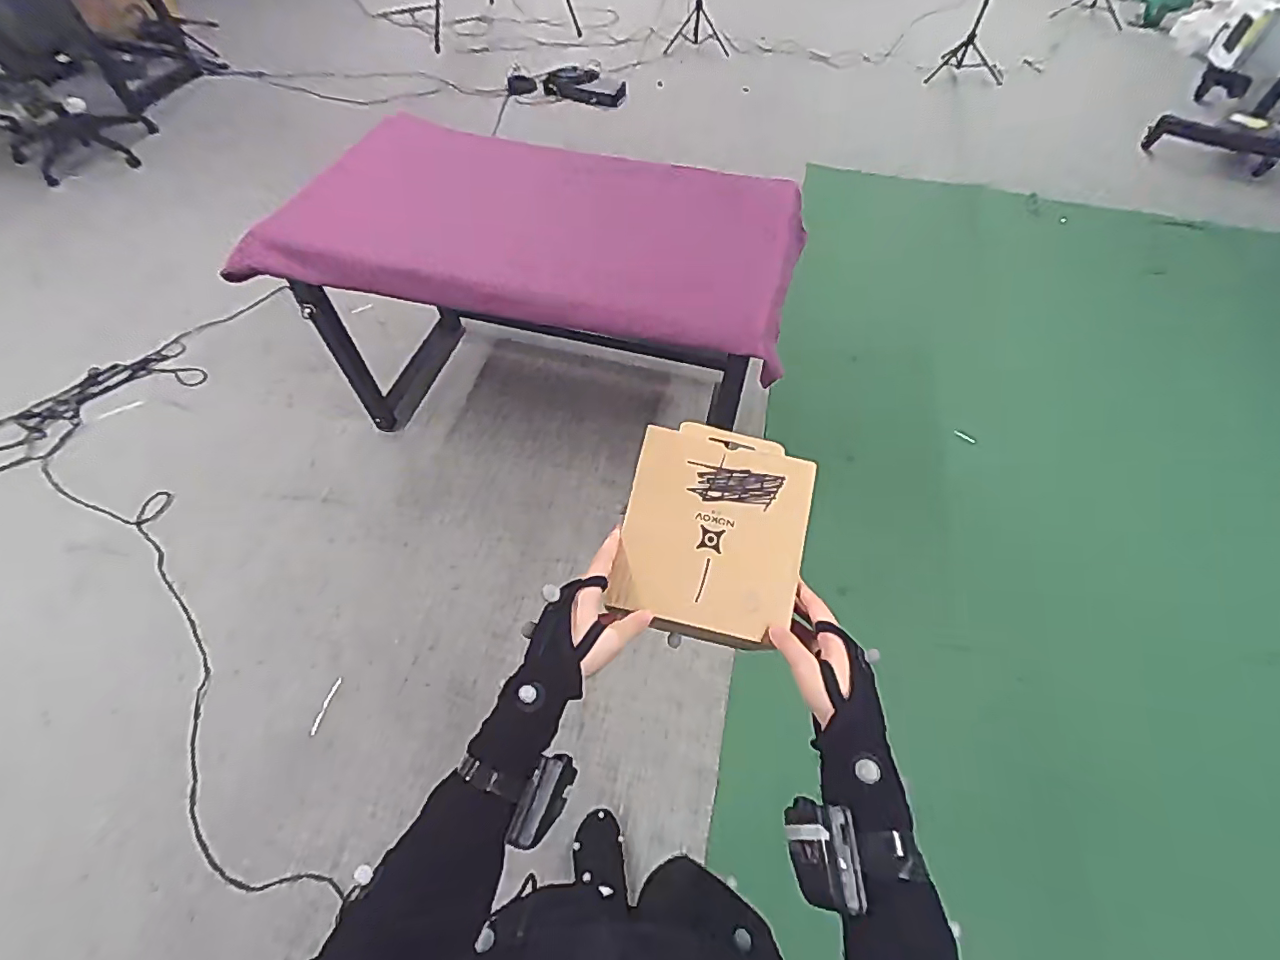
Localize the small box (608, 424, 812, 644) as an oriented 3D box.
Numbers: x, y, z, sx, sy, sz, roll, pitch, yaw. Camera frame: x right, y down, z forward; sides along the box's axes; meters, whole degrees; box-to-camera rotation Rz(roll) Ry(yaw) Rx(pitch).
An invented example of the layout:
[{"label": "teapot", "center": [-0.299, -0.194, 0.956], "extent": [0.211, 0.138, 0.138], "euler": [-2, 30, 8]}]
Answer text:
[{"label": "small box", "center": [0.067, 0.067, 0.575], "extent": [0.168, 0.176, 0.179], "euler": [13, 72, 4]}]
